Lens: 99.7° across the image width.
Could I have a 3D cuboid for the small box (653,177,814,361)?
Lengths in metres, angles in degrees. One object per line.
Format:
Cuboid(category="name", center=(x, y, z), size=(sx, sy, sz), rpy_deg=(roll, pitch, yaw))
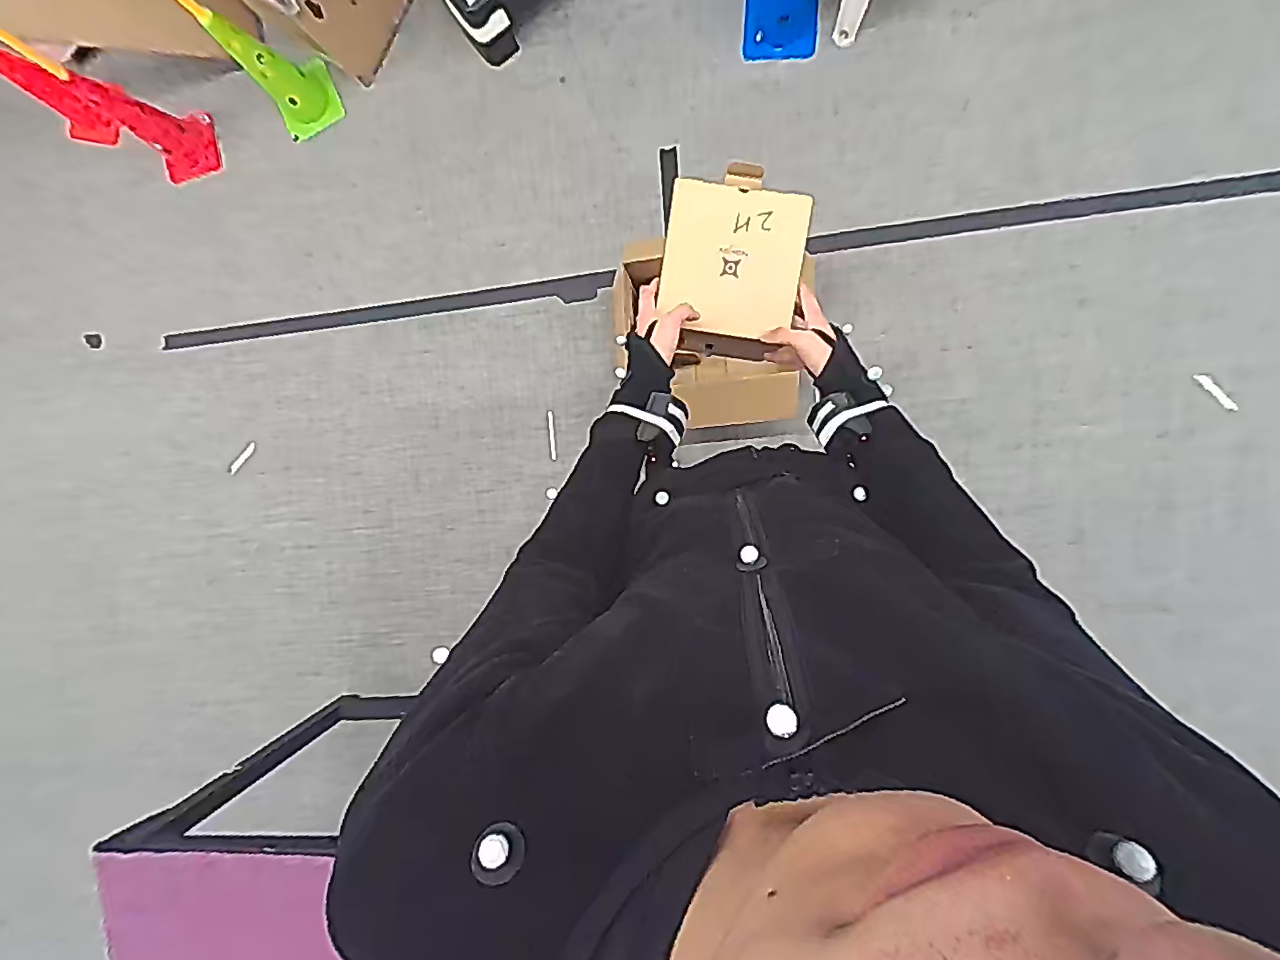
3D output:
Cuboid(category="small box", center=(0.113, -0.263, 0.716), size=(0.168, 0.176, 0.179), rpy_deg=(9, 94, 0))
